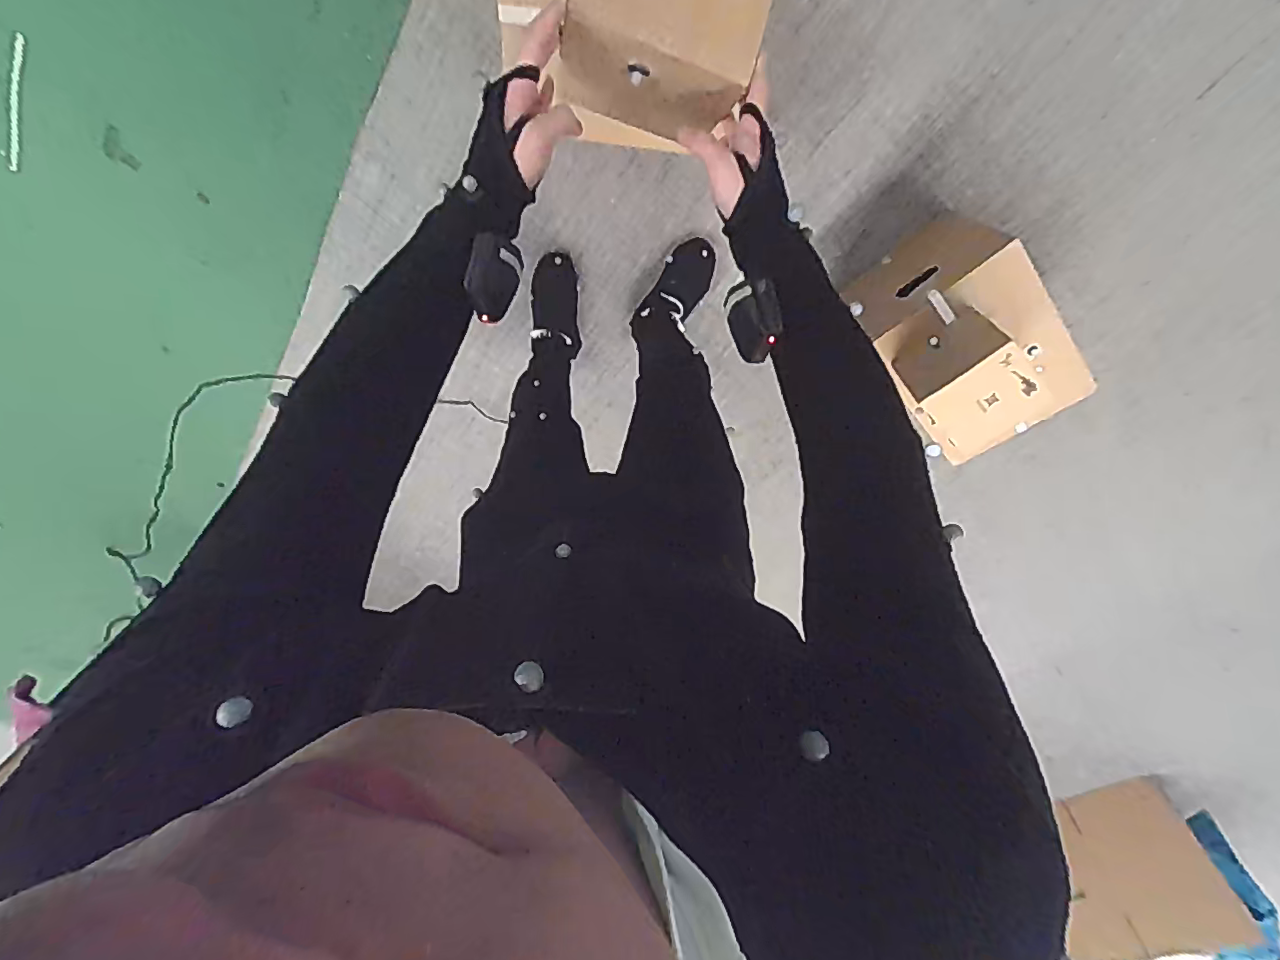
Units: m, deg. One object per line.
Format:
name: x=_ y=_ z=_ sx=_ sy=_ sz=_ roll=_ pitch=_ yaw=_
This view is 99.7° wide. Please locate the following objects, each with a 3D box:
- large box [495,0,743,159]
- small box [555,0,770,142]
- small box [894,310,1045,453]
large box: x=-0.016 y=-0.781 z=0.958 sx=0.408 sy=0.320 sz=0.320 roll=7 pitch=125 yaw=0
small box: x=0.018 y=-0.469 z=0.534 sx=0.179 sy=0.176 sz=0.168 roll=11 pitch=102 yaw=-16
small box: x=0.619 y=-0.192 z=1.044 sx=0.168 sy=0.176 sz=0.179 roll=39 pitch=121 yaw=-22
